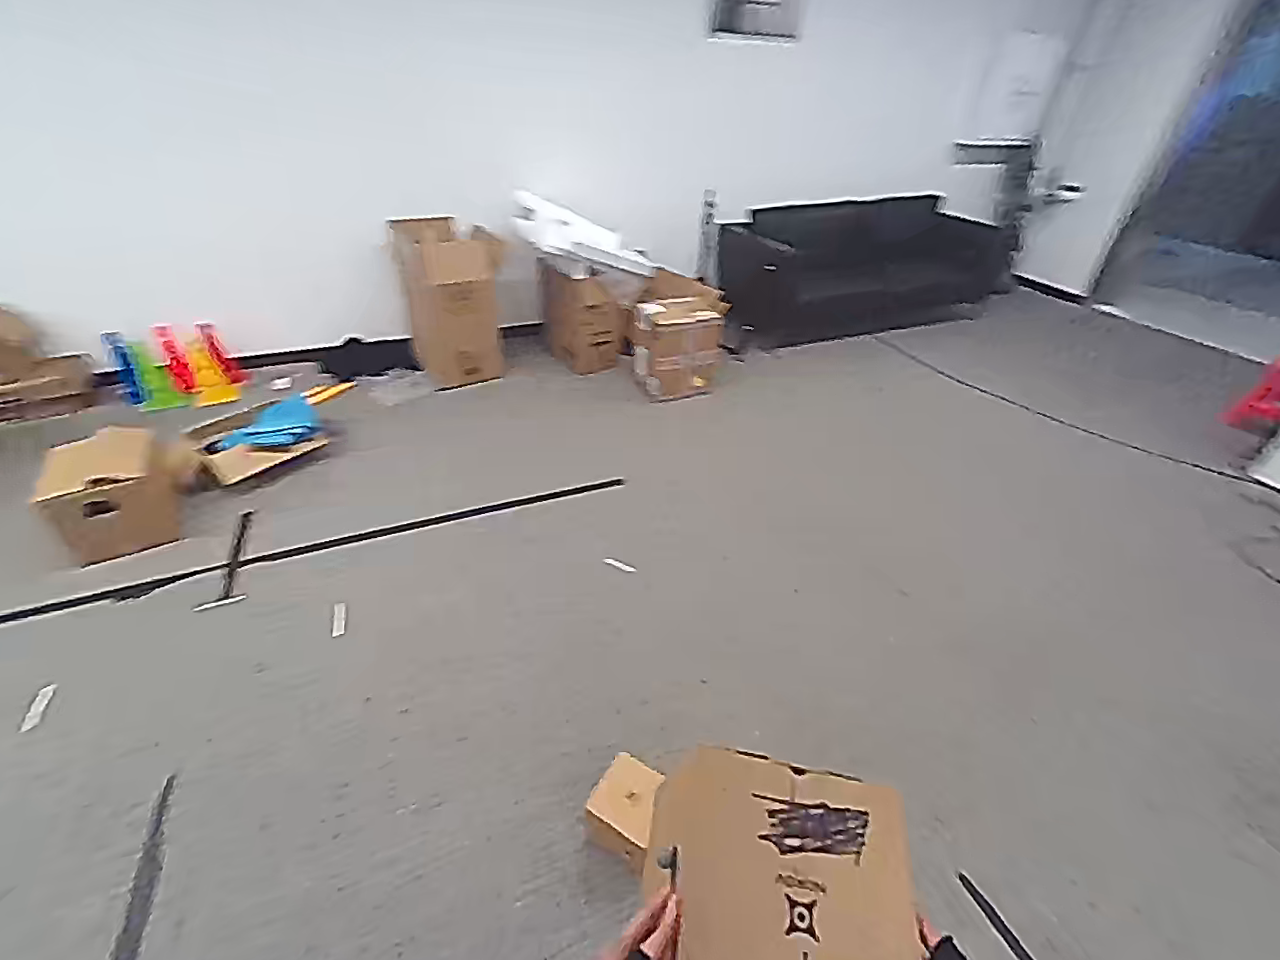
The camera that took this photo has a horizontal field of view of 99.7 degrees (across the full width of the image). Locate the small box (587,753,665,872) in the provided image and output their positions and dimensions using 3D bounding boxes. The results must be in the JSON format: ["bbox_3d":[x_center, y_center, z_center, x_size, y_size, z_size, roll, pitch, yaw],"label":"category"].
[{"bbox_3d":[-0.013,0.832,1.346,0.179,0.176,0.168,20,39,25],"label":"small box"}]

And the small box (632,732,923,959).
[{"bbox_3d":[0.094,0.329,0.425,0.168,0.176,0.179,13,48,-2],"label":"small box"}]
